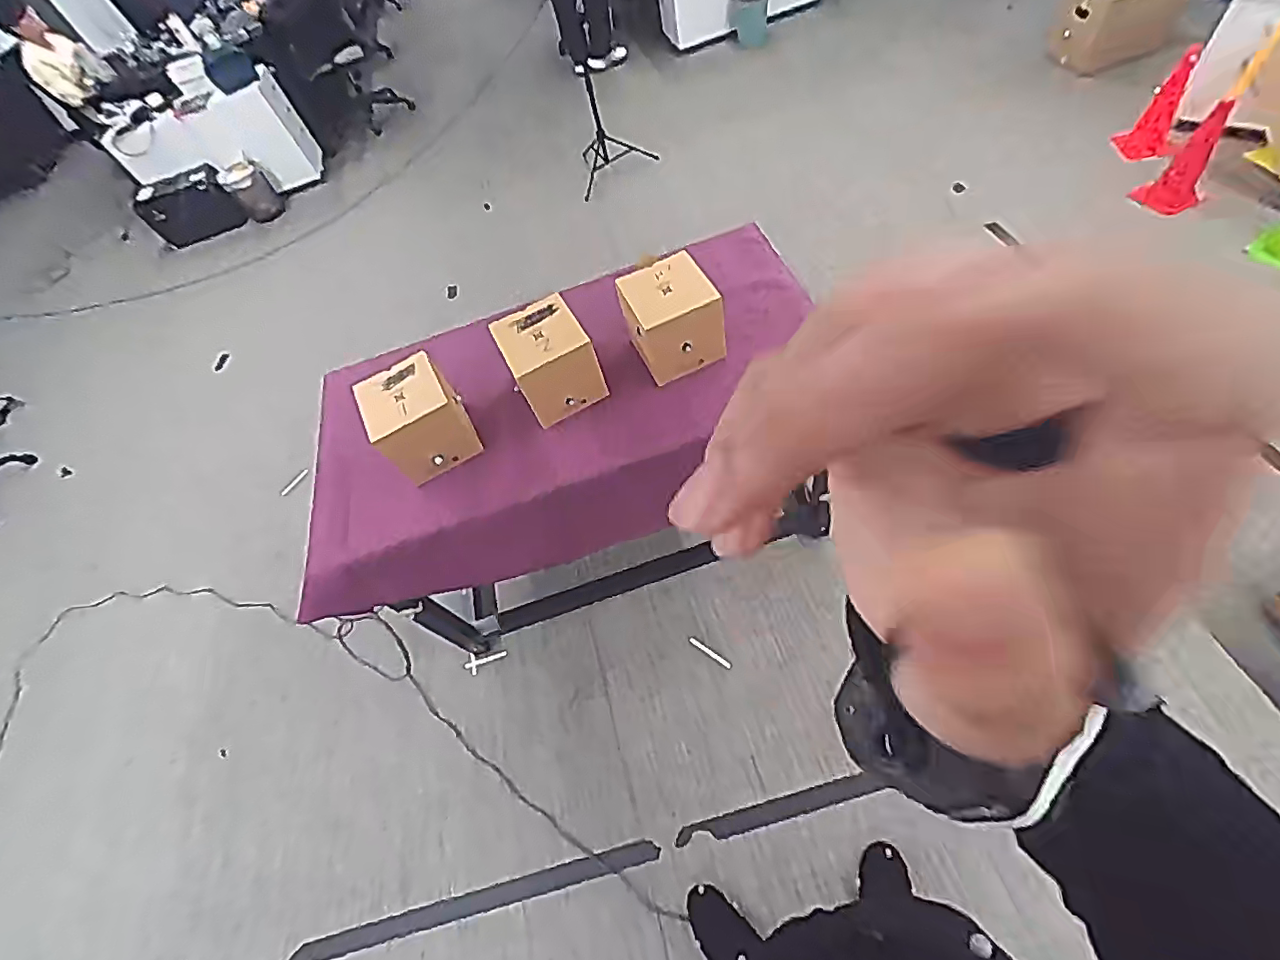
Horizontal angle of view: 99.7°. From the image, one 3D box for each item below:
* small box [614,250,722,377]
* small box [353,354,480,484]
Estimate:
[{"bbox_3d":[0.065,-0.344,1.148,0.168,0.176,0.179,-24,56,-3],"label":"small box"},{"bbox_3d":[-0.465,-0.125,1.139,0.168,0.176,0.179,-31,57,-6],"label":"small box"}]
